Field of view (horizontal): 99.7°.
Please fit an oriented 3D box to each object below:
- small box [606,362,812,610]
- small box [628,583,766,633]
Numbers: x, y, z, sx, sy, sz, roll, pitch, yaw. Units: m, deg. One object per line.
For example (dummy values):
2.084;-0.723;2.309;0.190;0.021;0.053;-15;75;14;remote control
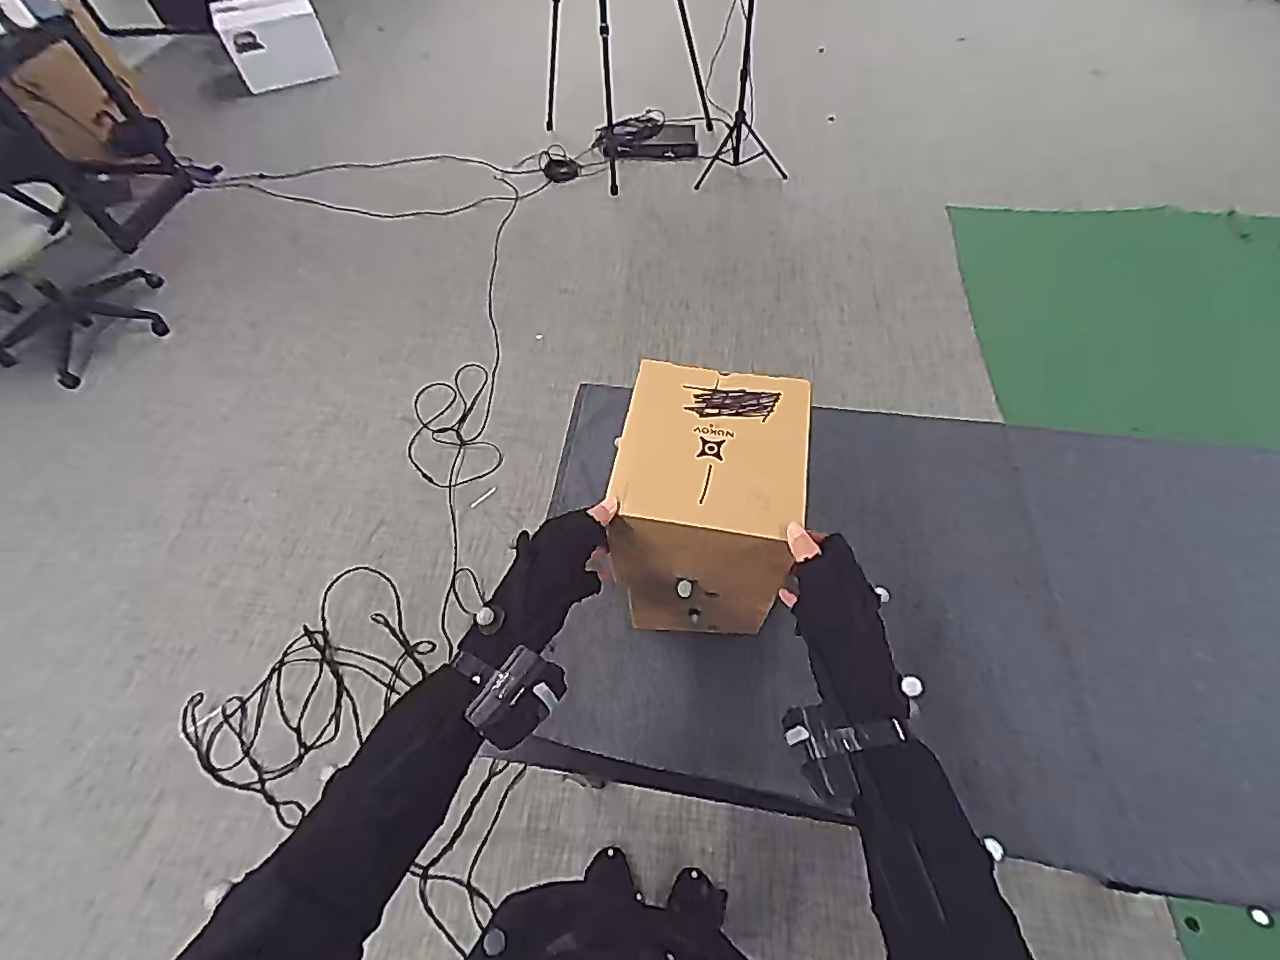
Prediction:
0.069;0.010;0.547;0.168;0.176;0.179;8;59;8;small box
0.077;0.087;0.693;0.168;0.176;0.179;2;56;3;small box
